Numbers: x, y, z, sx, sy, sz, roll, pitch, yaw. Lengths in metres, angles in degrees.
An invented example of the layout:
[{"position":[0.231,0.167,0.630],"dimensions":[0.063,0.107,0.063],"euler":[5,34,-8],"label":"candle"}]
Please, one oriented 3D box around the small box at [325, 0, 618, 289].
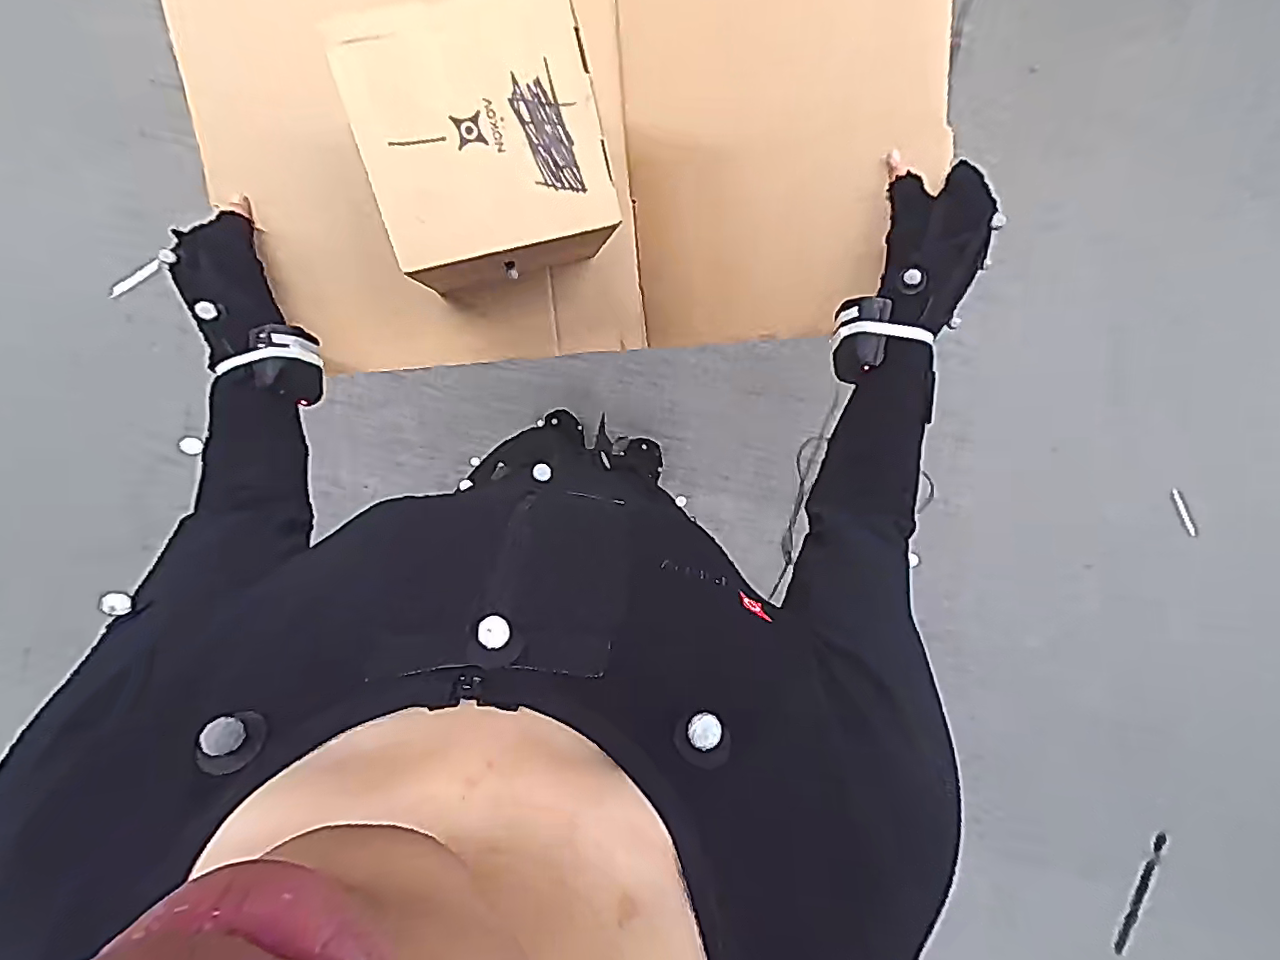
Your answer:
[{"position":[-0.133,-0.277,0.479],"dimensions":[0.179,0.176,0.168],"euler":[-17,107,-7],"label":"small box"}]
